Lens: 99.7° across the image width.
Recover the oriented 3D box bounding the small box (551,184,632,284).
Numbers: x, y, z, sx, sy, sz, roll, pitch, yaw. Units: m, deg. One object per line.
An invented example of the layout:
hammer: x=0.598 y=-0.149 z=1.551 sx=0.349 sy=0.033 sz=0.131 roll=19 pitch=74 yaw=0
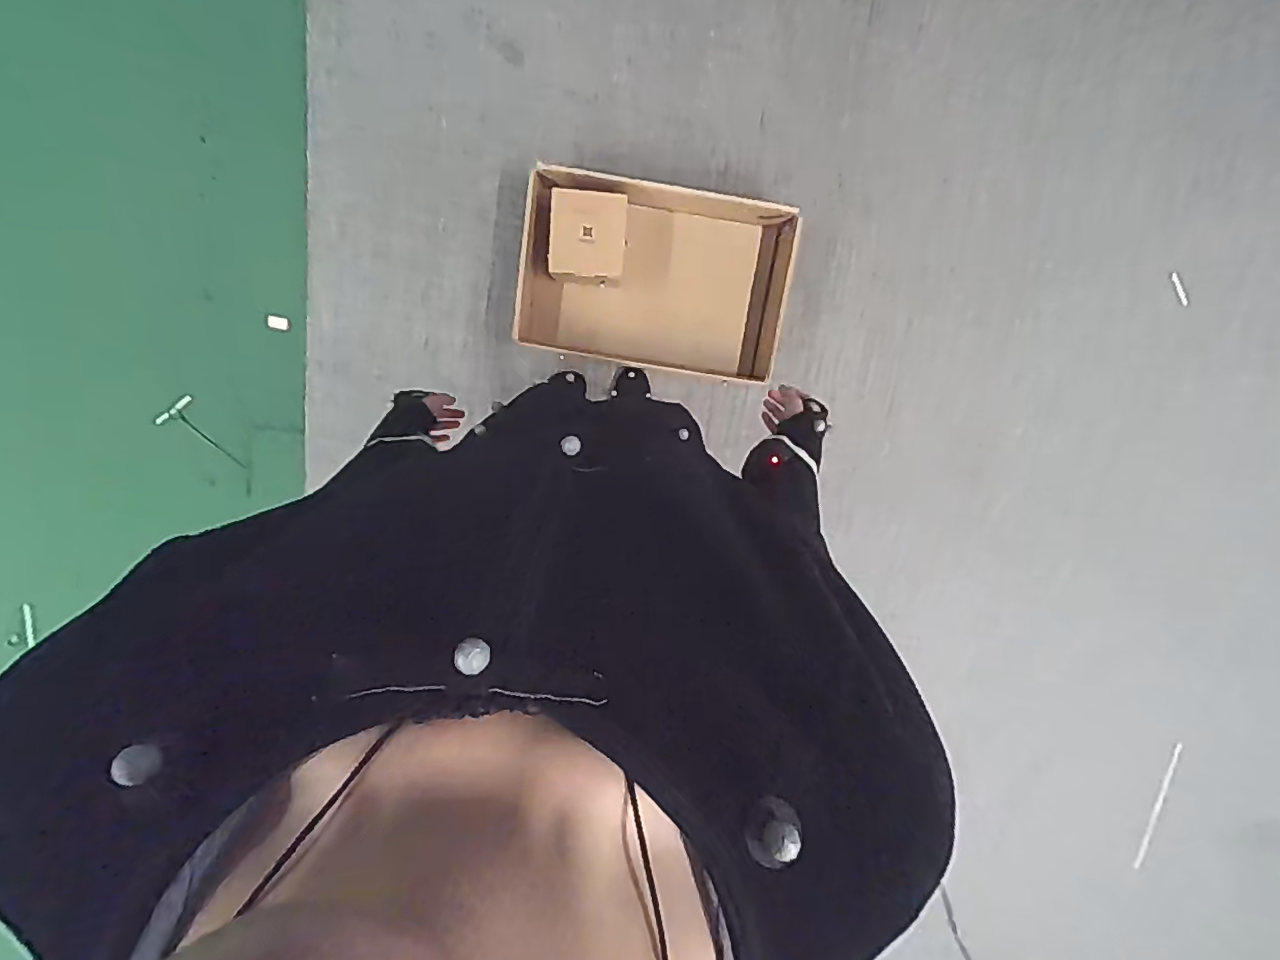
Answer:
small box: x=-0.108 y=-0.559 z=1.252 sx=0.168 sy=0.176 sz=0.179 roll=6 pitch=103 yaw=-2
